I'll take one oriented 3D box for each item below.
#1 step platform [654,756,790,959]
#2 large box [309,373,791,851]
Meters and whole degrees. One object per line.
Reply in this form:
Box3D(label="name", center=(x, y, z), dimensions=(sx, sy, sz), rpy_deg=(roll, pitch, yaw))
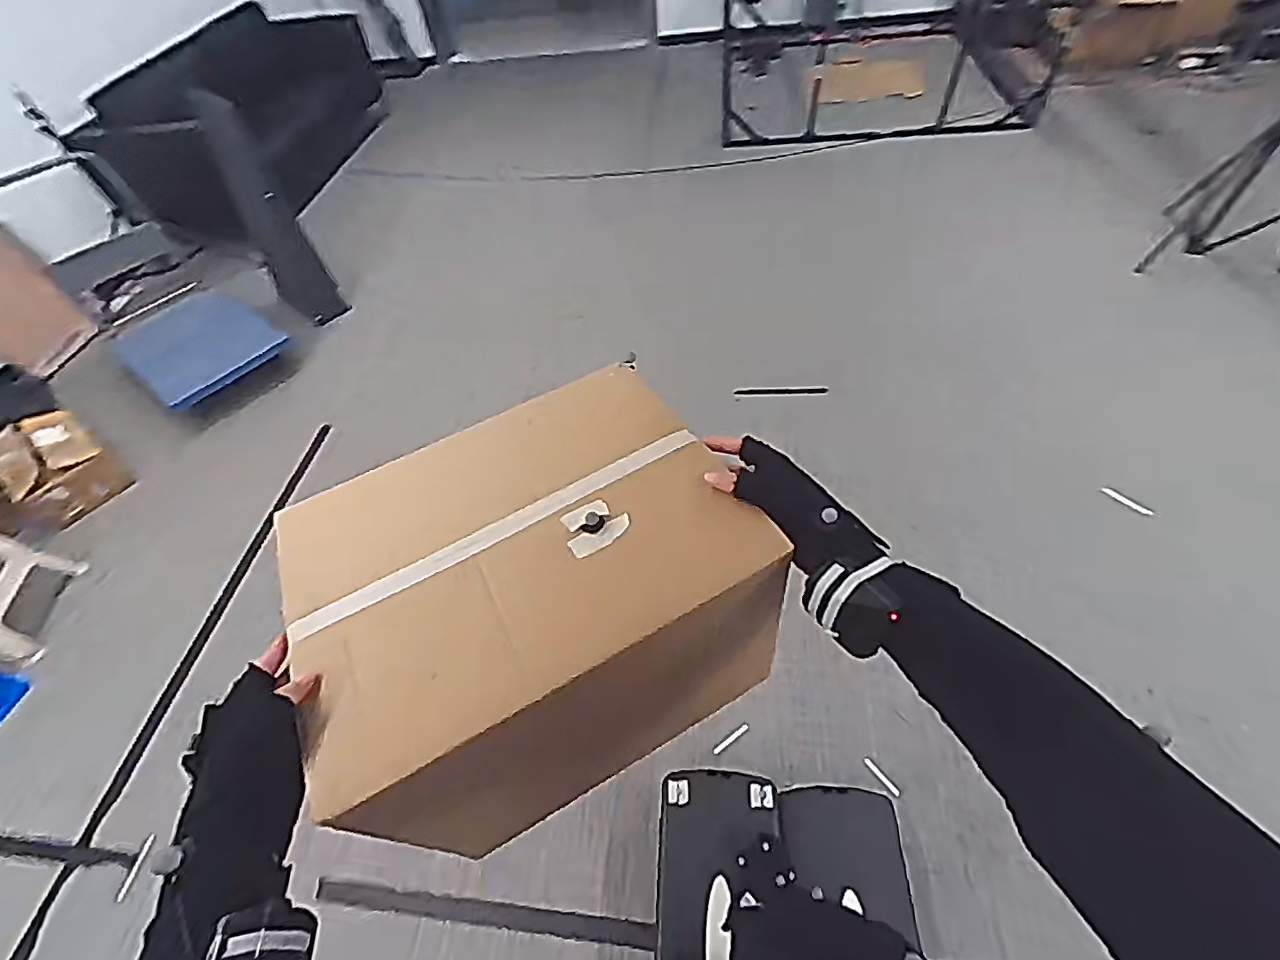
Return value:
Box3D(label="step platform", center=(0.178, 0.997, 1.201), dimensions=(0.286, 0.204, 0.684), rpy_deg=(-1, 51, 6))
Box3D(label="large box", center=(-0.090, 0.146, 0.633), dimensions=(0.408, 0.320, 0.320), rpy_deg=(-26, 52, -13))
